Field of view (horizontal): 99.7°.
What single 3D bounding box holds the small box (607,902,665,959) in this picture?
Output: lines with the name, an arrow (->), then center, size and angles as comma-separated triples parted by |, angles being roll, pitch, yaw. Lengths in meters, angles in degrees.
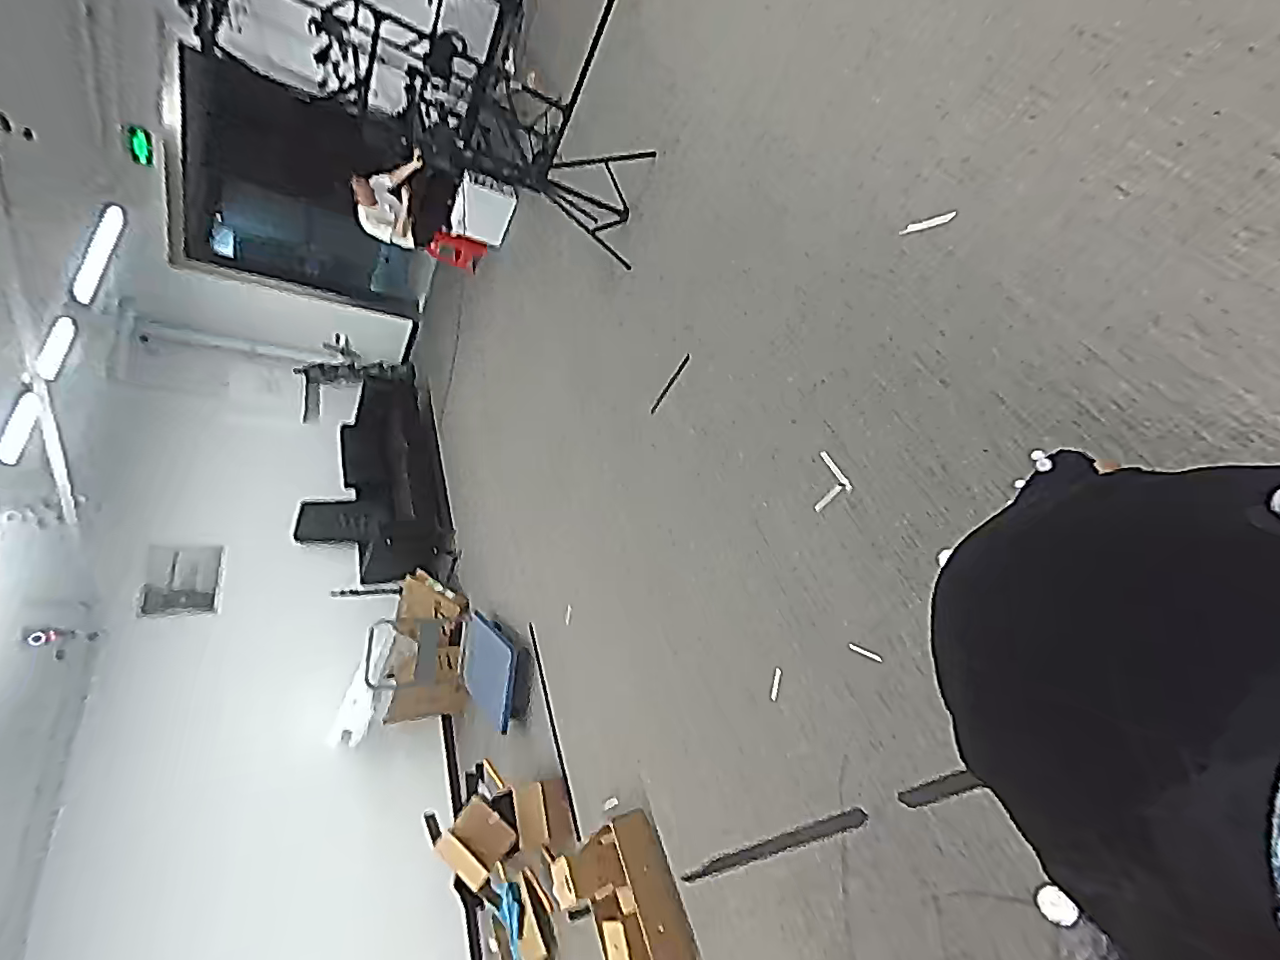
small box -> -0.017, 1.925, 2.300 | 0.179, 0.176, 0.168 | -48, 47, 41

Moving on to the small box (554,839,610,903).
small box -> -0.249, 1.708, 2.369 | 0.179, 0.176, 0.168 | -58, 43, 35
